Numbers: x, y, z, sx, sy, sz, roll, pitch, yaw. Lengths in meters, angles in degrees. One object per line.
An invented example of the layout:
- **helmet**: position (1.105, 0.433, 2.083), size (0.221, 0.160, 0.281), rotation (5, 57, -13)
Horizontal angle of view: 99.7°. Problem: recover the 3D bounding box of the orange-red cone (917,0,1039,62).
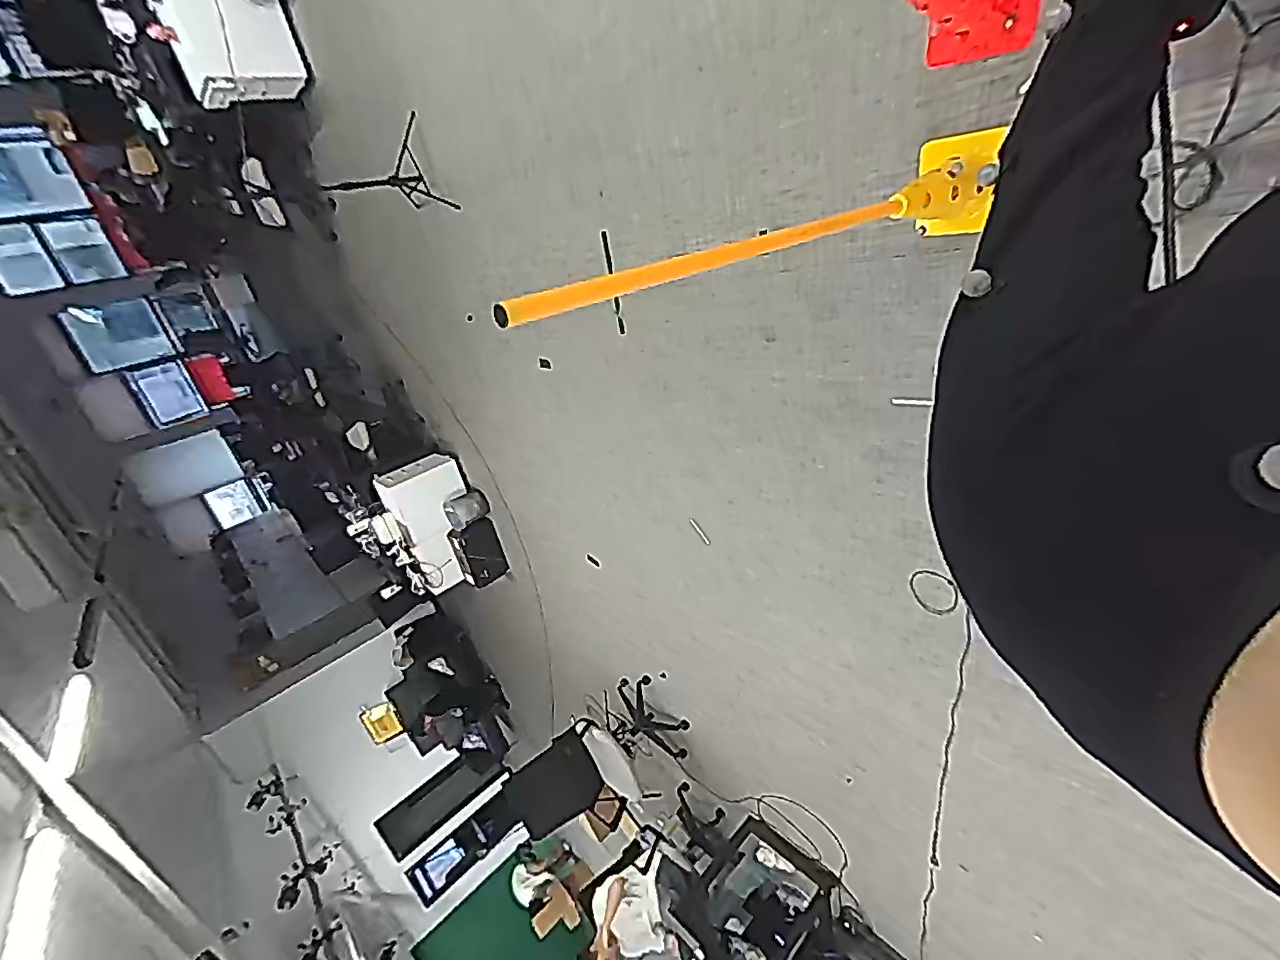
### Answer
- **orange-red cone**: position (0.552, -0.880, 0.957), size (0.198, 0.360, 0.199), rotation (23, 130, 41)
